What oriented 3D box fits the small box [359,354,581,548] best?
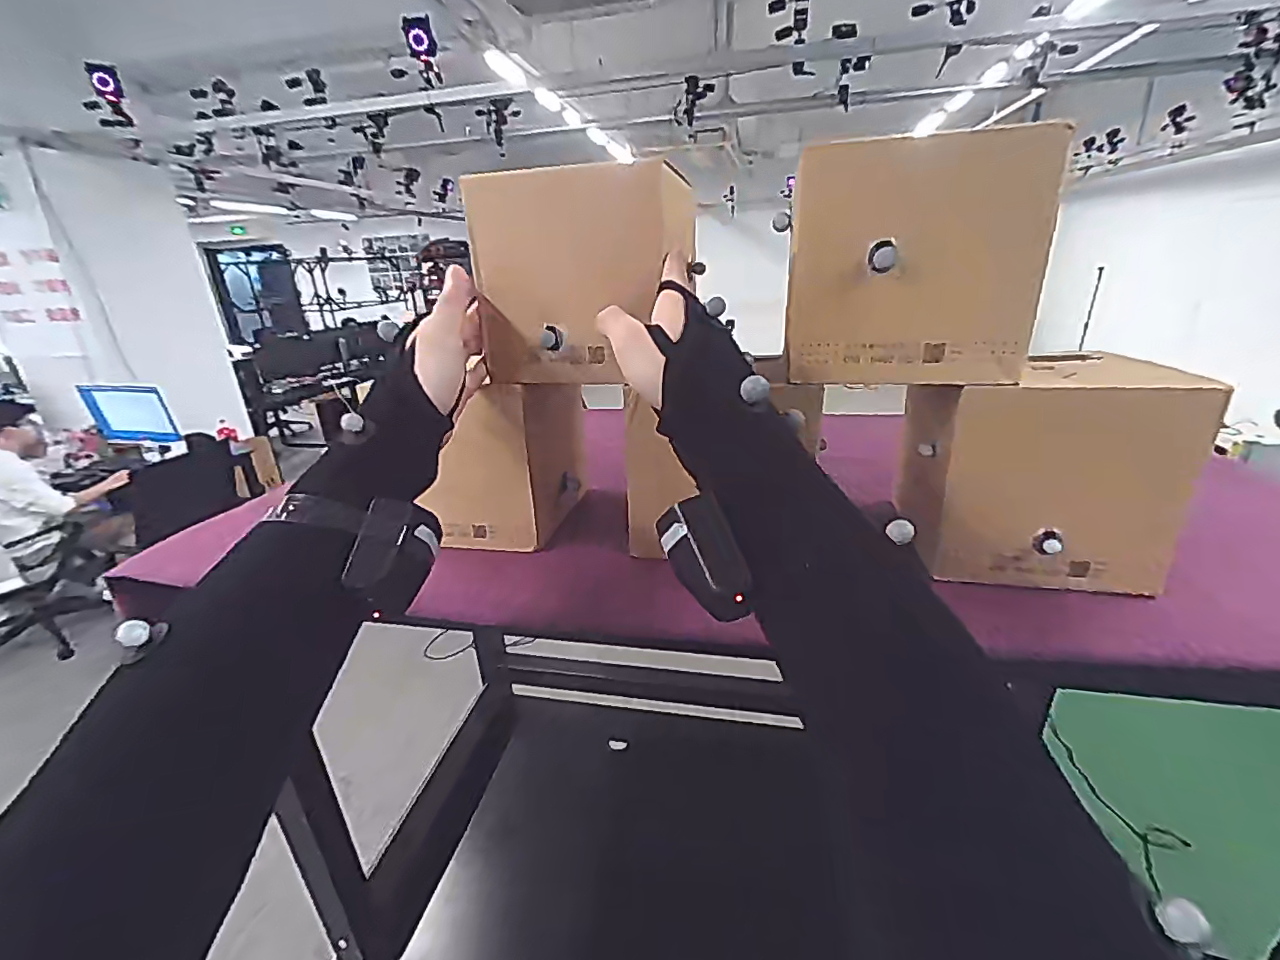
[{"bbox_3d":[-0.166,-0.042,0.590,0.168,0.176,0.179,2,20,11],"label":"small box"}]

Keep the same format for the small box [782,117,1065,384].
[{"bbox_3d":[0.210,-0.177,0.455,0.168,0.176,0.179,2,21,13],"label":"small box"}]

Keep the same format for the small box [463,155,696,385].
[{"bbox_3d":[-0.041,-0.191,0.512,0.168,0.176,0.179,2,22,14],"label":"small box"}]
